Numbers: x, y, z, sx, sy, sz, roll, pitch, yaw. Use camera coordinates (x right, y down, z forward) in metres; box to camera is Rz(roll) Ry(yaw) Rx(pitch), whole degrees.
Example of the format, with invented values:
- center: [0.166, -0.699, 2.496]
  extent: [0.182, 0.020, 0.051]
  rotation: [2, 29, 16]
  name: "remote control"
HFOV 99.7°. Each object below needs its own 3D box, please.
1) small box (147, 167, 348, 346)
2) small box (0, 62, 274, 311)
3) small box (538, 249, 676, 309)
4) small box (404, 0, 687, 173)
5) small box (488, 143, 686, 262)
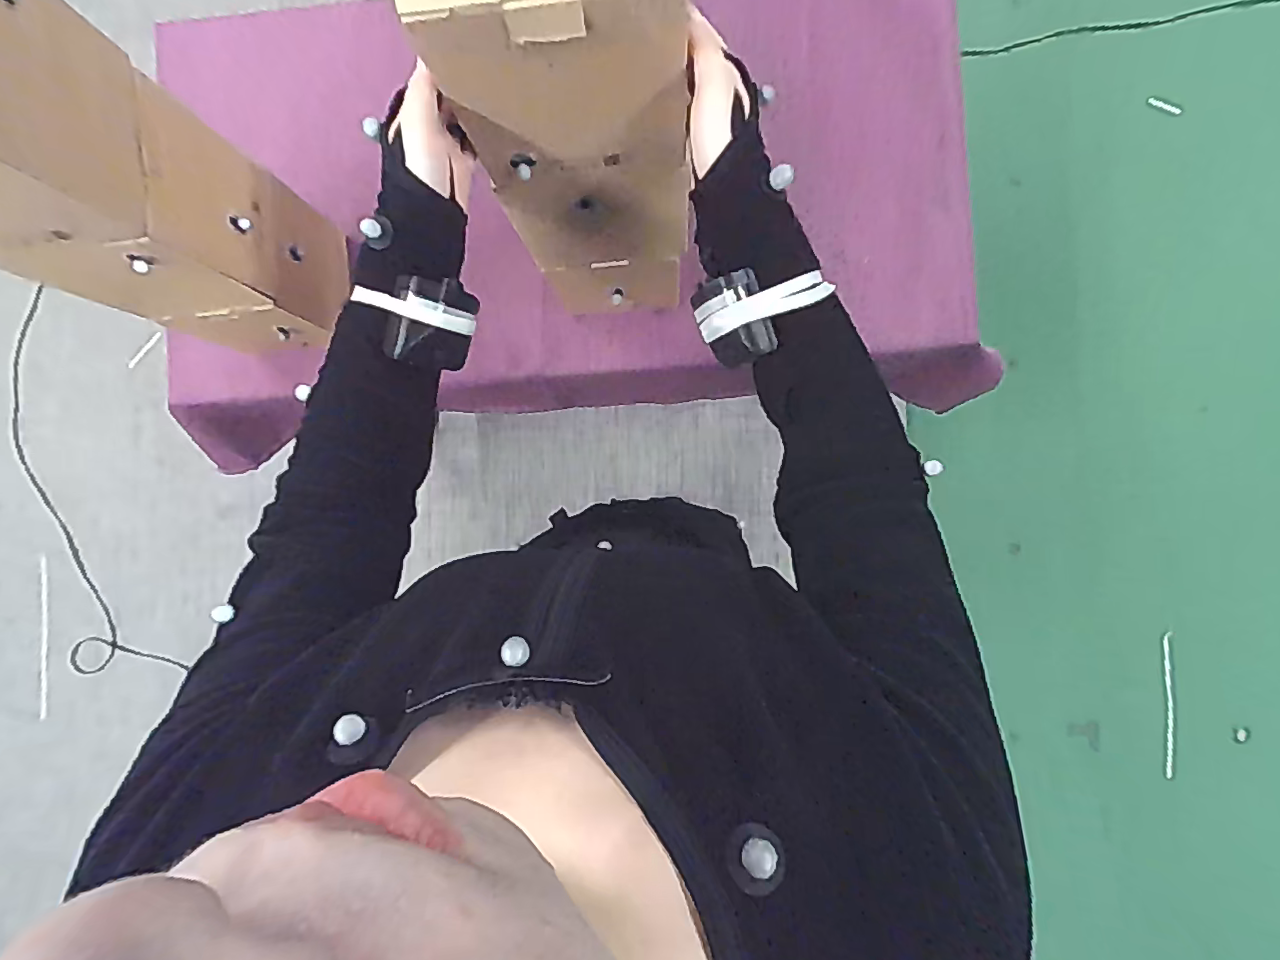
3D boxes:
- center: [-0.525, -0.289, 0.740]
  extent: [0.168, 0.176, 0.179]
  rotation: [-5, 88, 2]
  name: "small box"
- center: [-0.538, -0.293, 0.578]
  extent: [0.179, 0.176, 0.168]
  rotation: [-7, 88, 1]
  name: "small box"
- center: [-0.038, -0.335, 0.714]
  extent: [0.168, 0.176, 0.179]
  rotation: [-3, 89, 3]
  name: "small box"
- center: [-0.053, -0.346, 0.385]
  extent: [0.168, 0.176, 0.179]
  rotation: [-4, 87, 3]
  name: "small box"
- center: [-0.045, -0.337, 0.549]
  extent: [0.179, 0.176, 0.168]
  rotation: [-4, 89, 3]
  name: "small box"
